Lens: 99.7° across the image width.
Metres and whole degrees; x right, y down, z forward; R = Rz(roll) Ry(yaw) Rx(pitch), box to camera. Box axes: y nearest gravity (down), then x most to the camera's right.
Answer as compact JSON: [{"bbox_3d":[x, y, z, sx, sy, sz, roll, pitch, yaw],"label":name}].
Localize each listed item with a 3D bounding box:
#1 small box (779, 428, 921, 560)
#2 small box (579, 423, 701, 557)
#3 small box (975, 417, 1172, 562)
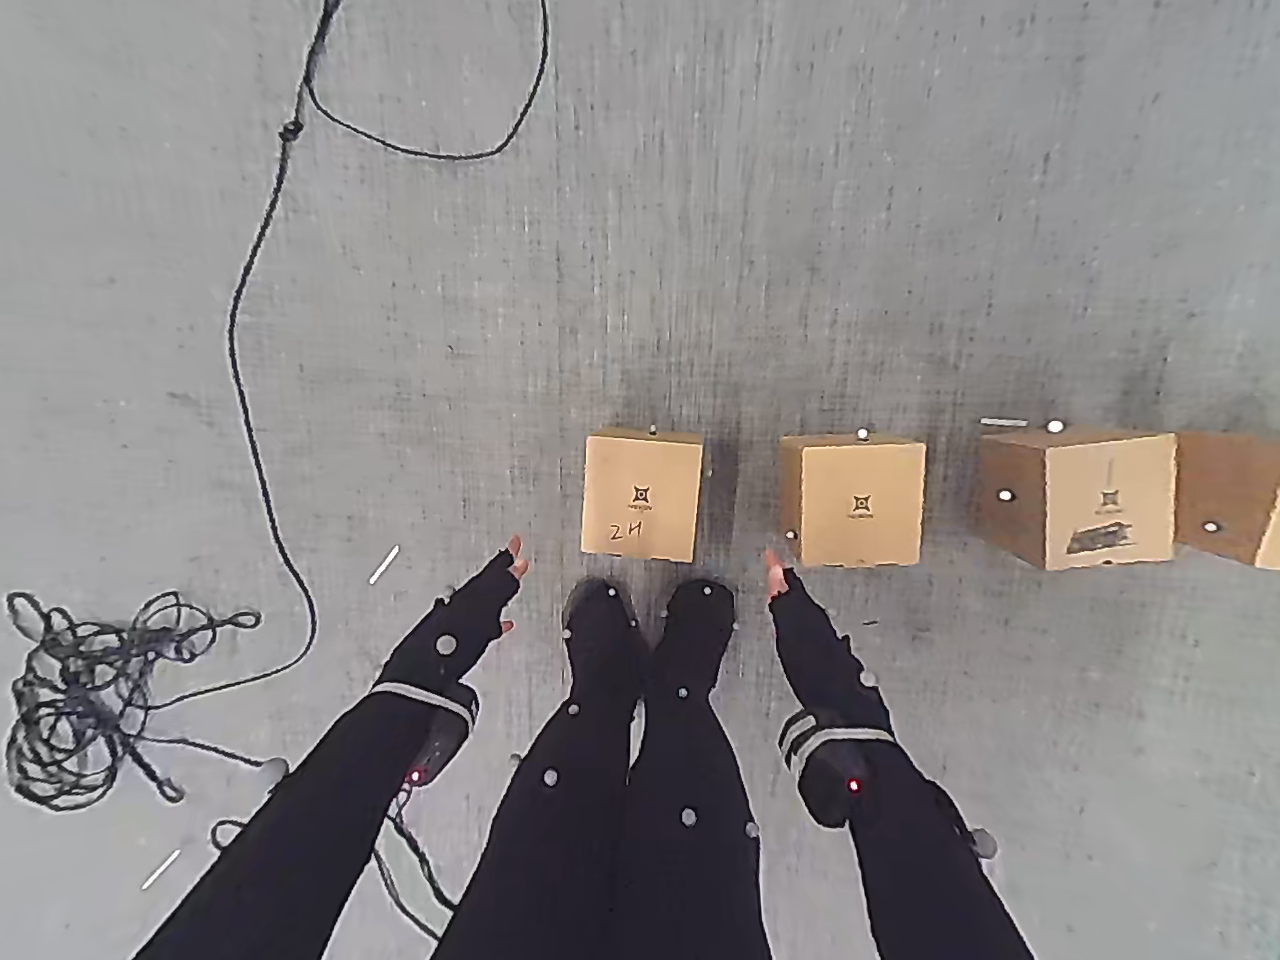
[{"bbox_3d":[0.308,0.012,0.827,0.168,0.176,0.179,-2,101,6],"label":"small box"},{"bbox_3d":[0.004,0.006,0.848,0.168,0.176,0.179,5,101,5],"label":"small box"},{"bbox_3d":[0.625,0.006,0.802,0.168,0.176,0.179,-7,99,5],"label":"small box"}]
